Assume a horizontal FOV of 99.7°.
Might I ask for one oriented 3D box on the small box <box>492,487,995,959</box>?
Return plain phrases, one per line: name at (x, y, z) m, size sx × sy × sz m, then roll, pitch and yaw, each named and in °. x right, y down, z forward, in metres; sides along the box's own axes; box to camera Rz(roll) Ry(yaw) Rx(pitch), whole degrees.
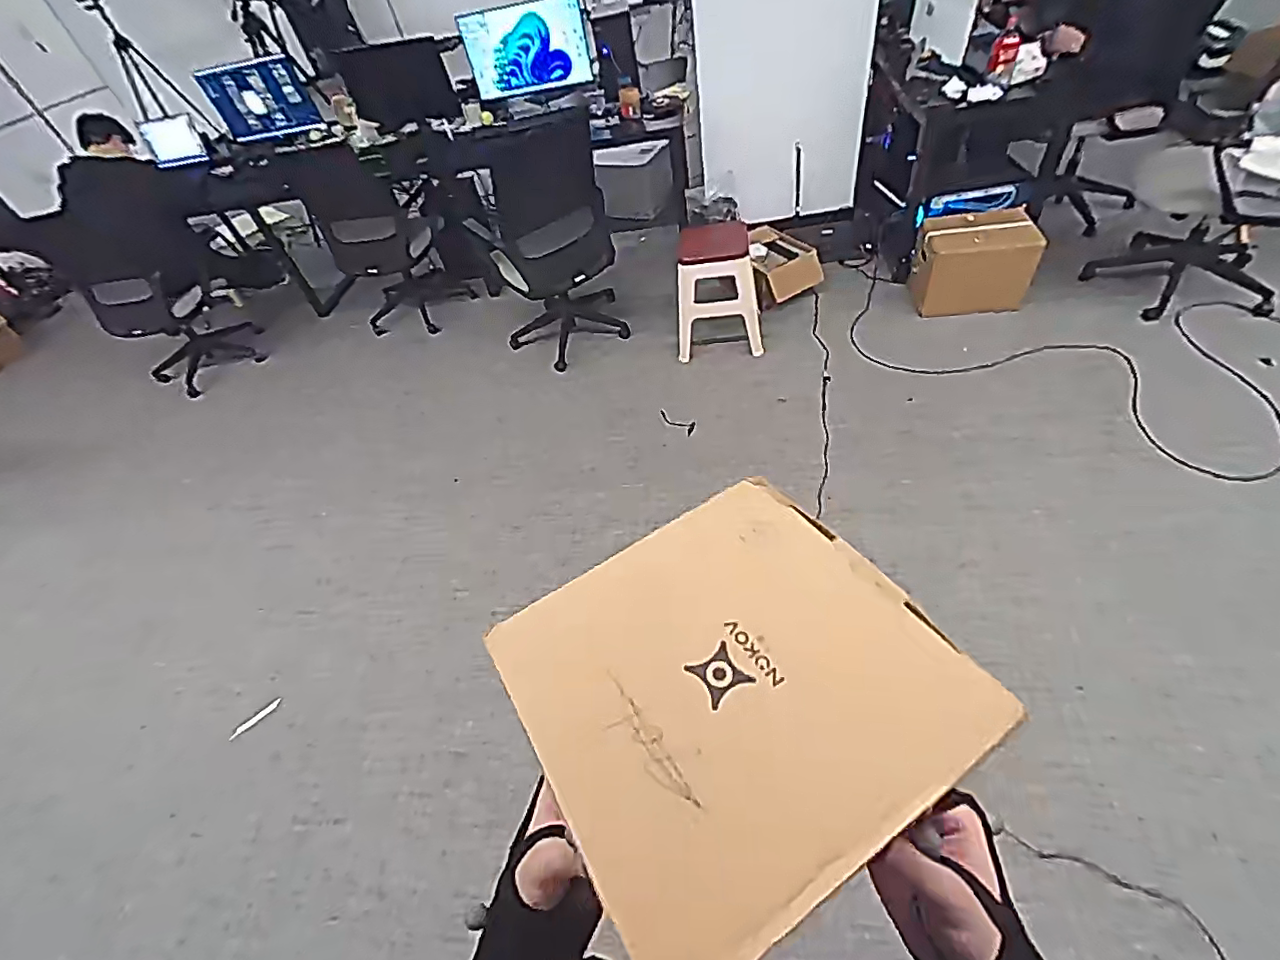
small box at (0.046, 0.143, 0.310) m, size 0.179 × 0.176 × 0.168 m, roll -30°, pitch 50°, yaw -17°
